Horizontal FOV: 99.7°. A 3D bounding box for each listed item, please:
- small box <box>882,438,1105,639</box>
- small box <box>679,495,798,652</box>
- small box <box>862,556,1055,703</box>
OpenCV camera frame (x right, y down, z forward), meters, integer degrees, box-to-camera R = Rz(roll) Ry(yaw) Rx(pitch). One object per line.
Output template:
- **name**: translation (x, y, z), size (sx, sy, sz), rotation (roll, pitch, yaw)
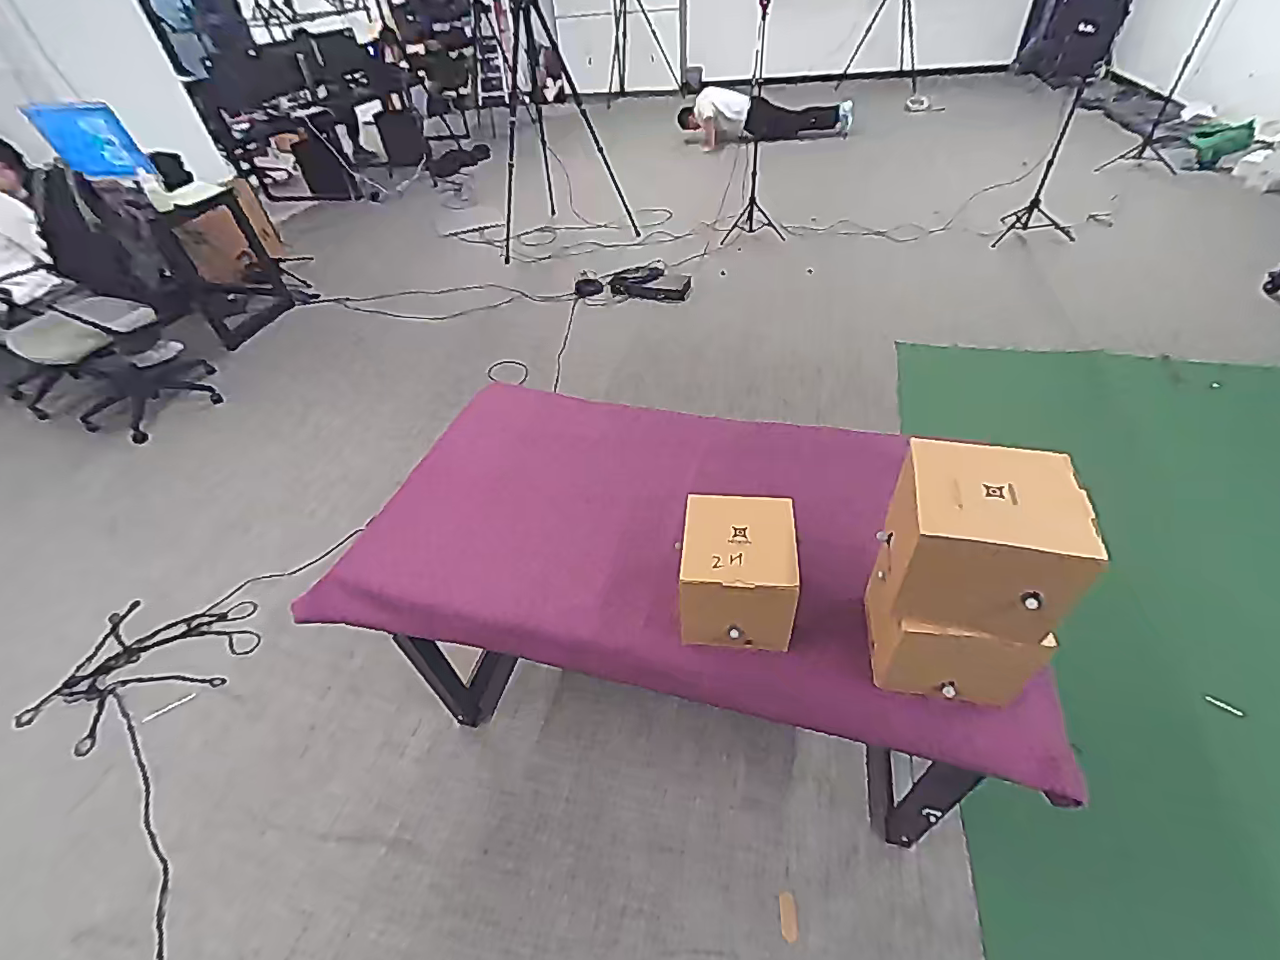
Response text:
- **small box**: translation (0.409, 0.073, 0.664), size (0.179, 0.176, 0.168), rotation (8, 46, 16)
- **small box**: translation (0.152, 0.145, 0.856), size (0.168, 0.176, 0.179), rotation (2, 44, 10)
- **small box**: translation (0.432, 0.197, 0.769), size (0.179, 0.176, 0.168), rotation (4, 44, 11)
